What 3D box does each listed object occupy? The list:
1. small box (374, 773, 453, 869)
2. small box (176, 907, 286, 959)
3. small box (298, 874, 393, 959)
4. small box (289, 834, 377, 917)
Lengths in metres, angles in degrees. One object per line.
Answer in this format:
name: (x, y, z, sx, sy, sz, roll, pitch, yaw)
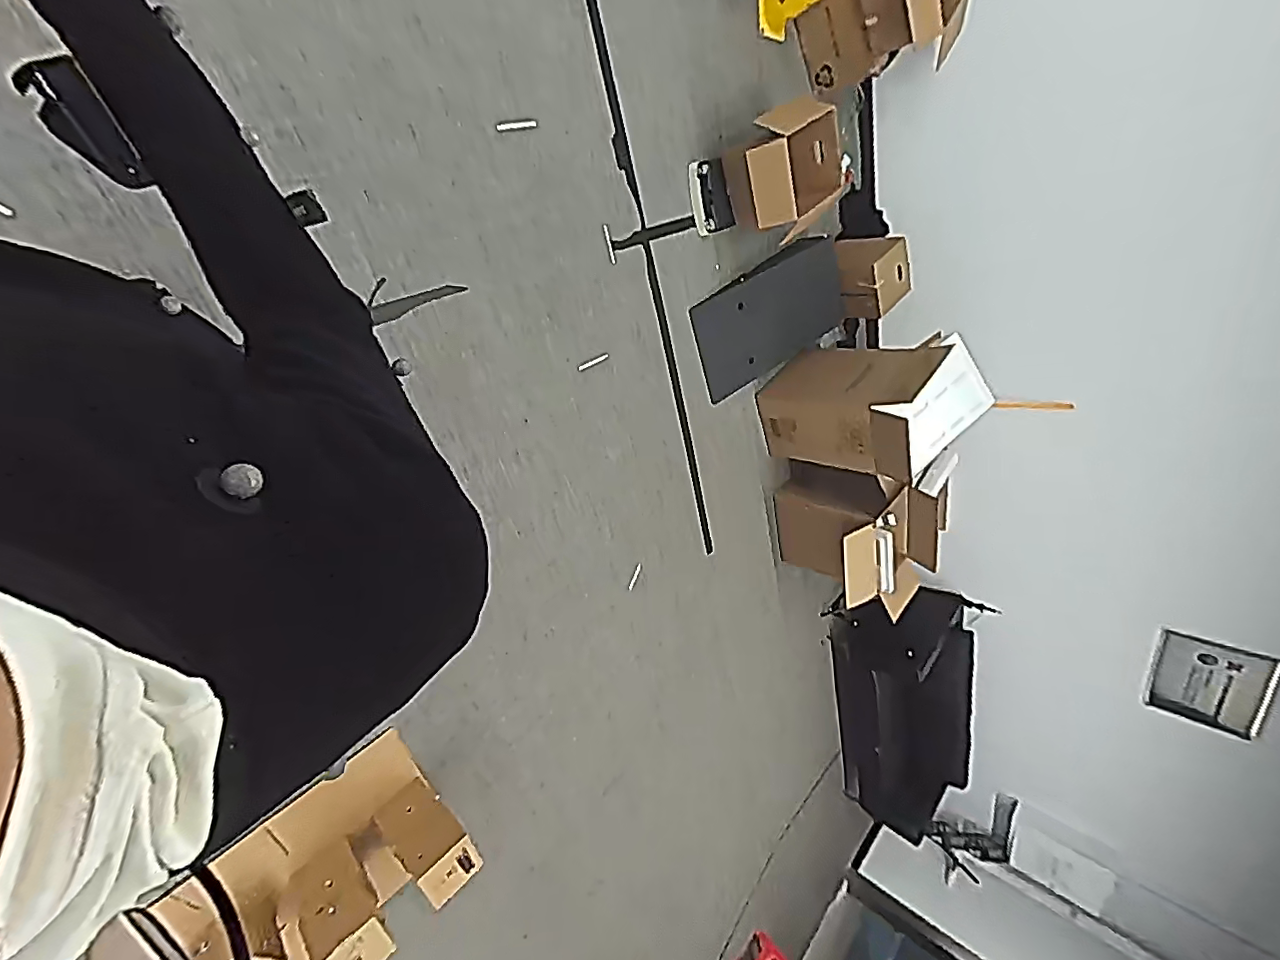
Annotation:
small box: (-0.772, 1.148, 1.831, 0.179, 0.176, 0.168, -34, 124, -36)
small box: (-1.144, 1.340, 1.508, 0.168, 0.176, 0.179, -52, 133, -23)
small box: (-0.848, 1.297, 1.558, 0.168, 0.176, 0.179, -31, 121, -36)
small box: (-0.957, 1.260, 1.677, 0.179, 0.176, 0.168, -32, 122, -36)
